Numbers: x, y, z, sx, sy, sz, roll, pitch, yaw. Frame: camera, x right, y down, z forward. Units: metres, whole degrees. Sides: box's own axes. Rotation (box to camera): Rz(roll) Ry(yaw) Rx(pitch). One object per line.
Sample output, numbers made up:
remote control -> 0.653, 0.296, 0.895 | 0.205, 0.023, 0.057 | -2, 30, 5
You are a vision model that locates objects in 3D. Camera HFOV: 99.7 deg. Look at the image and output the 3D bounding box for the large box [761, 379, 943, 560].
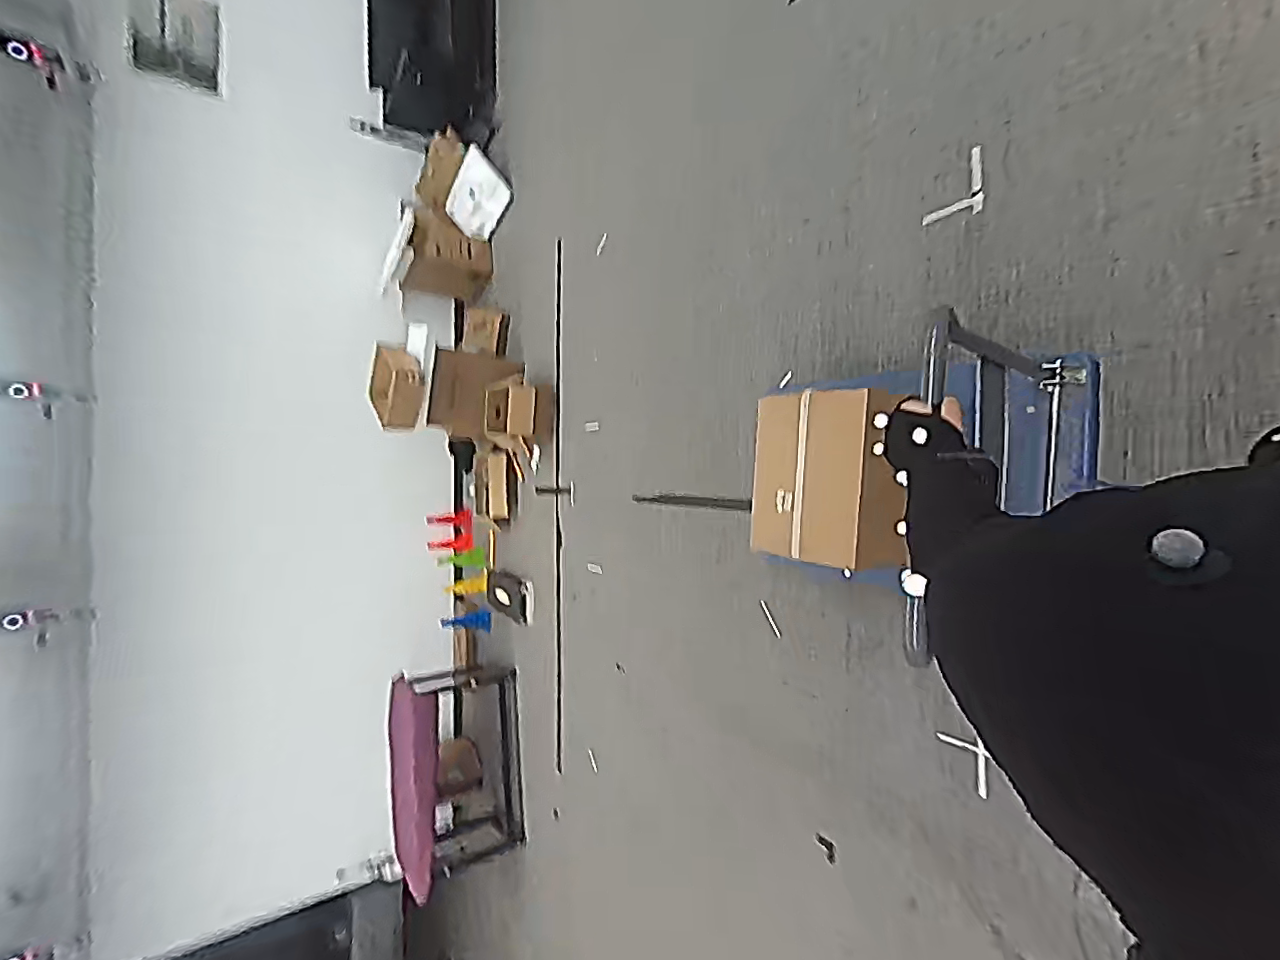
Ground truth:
large box -> 0.537, -0.033, 1.381 | 0.320, 0.320, 0.408 | 8, 97, 56
